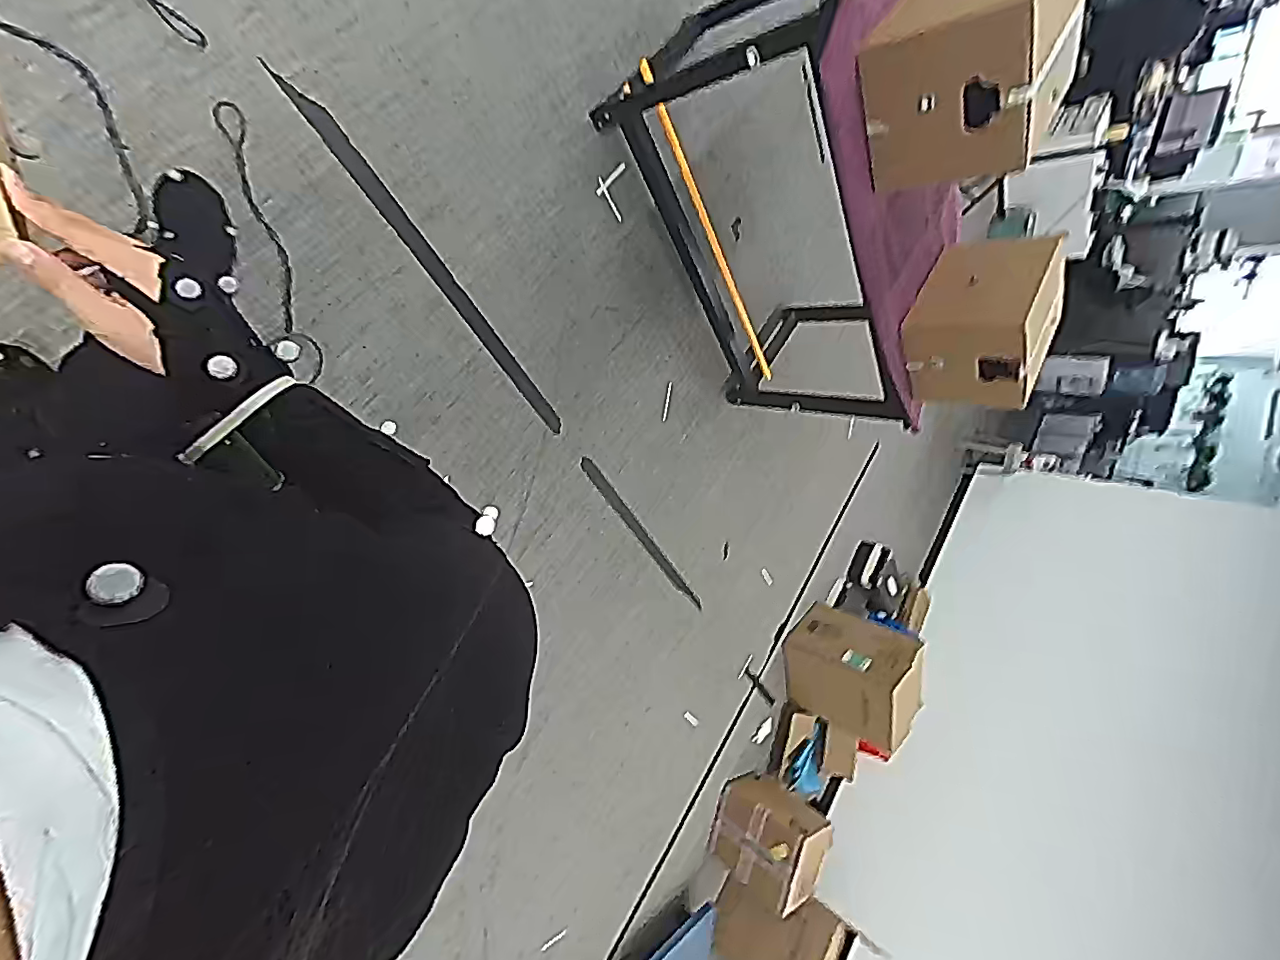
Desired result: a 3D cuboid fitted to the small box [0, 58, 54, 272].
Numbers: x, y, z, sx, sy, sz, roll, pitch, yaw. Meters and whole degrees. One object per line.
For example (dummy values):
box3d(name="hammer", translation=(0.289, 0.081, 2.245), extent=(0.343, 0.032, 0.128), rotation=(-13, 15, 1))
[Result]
box3d(name="small box", translation=(-0.459, -0.202, 0.285), extent=(0.179, 0.176, 0.168), rotation=(-16, 118, -41))

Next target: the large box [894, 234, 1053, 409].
box3d(name="large box", translation=(1.015, -0.471, 1.645), extent=(0.408, 0.320, 0.320), rotation=(-56, 135, -22))
